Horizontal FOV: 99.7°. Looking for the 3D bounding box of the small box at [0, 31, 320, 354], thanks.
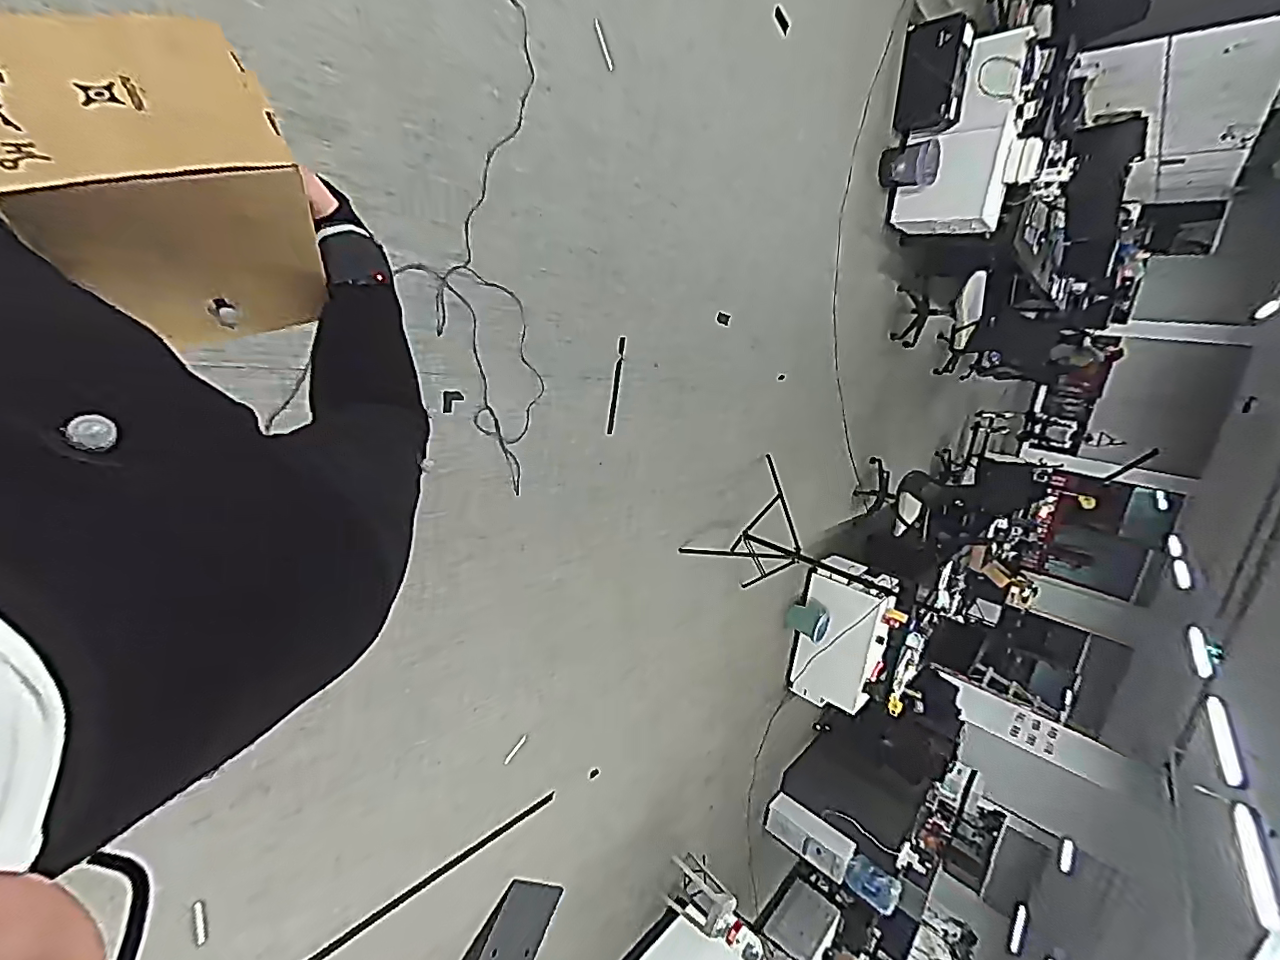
[{"bbox_3d":[-0.400,-0.237,0.465,0.179,0.168,0.176,-26,165,-30],"label":"small box"}]
